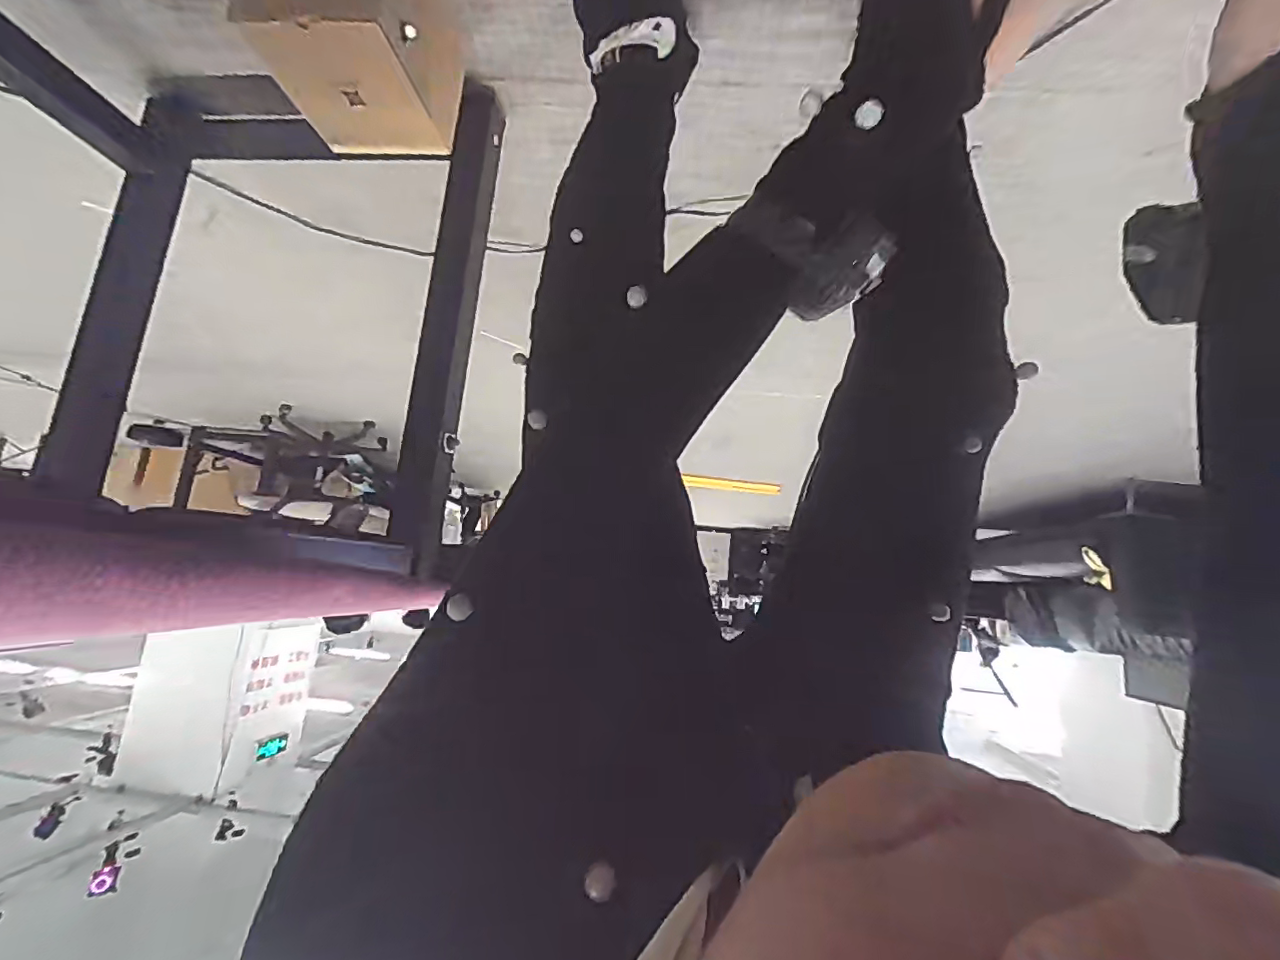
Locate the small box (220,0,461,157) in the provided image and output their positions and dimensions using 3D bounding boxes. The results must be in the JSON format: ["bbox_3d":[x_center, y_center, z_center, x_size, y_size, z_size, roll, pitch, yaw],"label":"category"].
[{"bbox_3d":[-0.328,-0.518,0.632,0.168,0.176,0.179,5,169,7],"label":"small box"}]
